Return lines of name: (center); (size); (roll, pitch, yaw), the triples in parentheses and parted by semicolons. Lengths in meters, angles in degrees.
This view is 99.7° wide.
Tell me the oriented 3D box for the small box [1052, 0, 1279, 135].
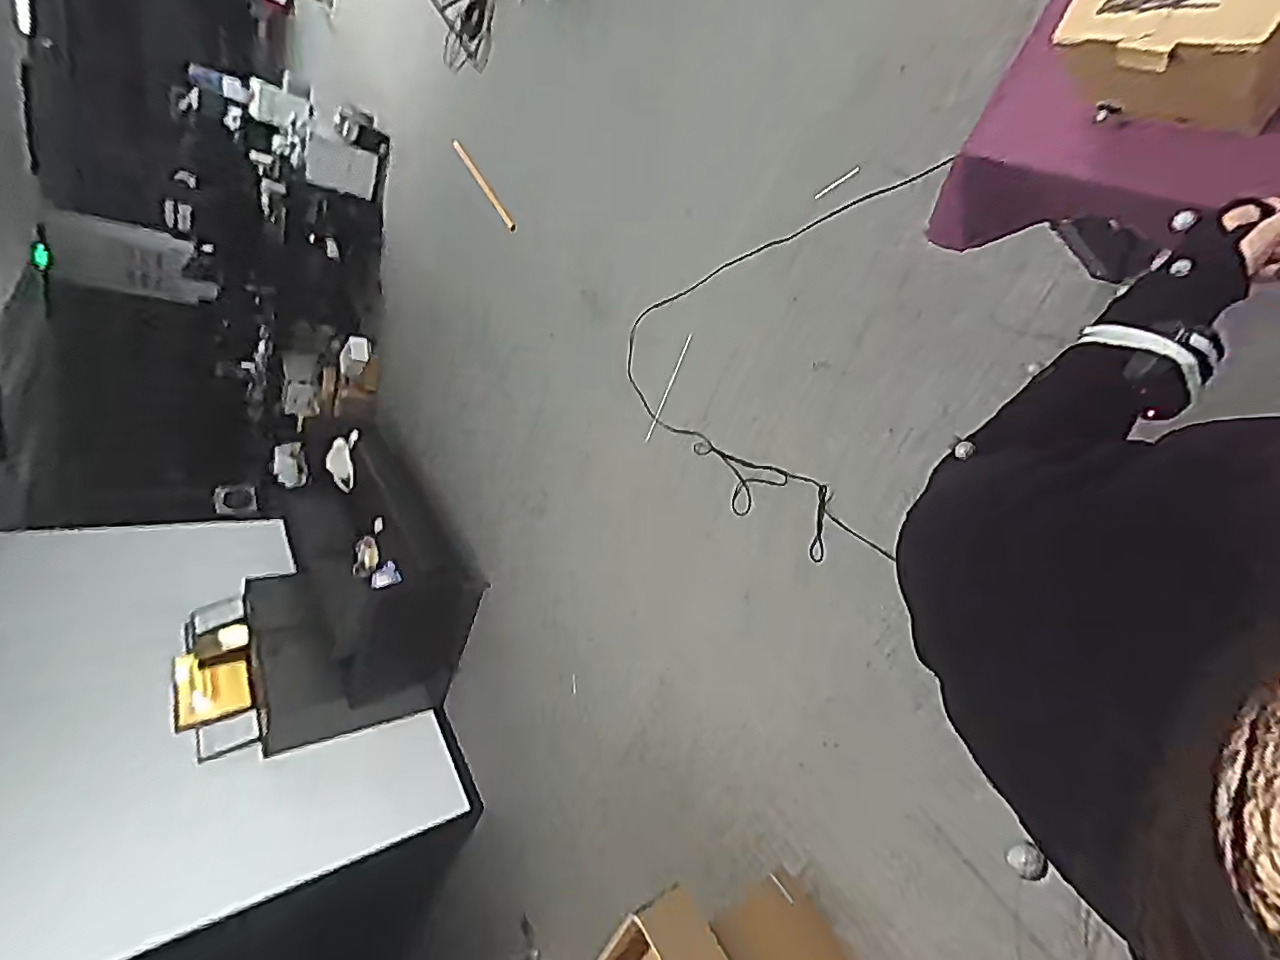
small box: (0.546, -0.459, 0.508); (0.168, 0.176, 0.179); (45, 120, 38)
